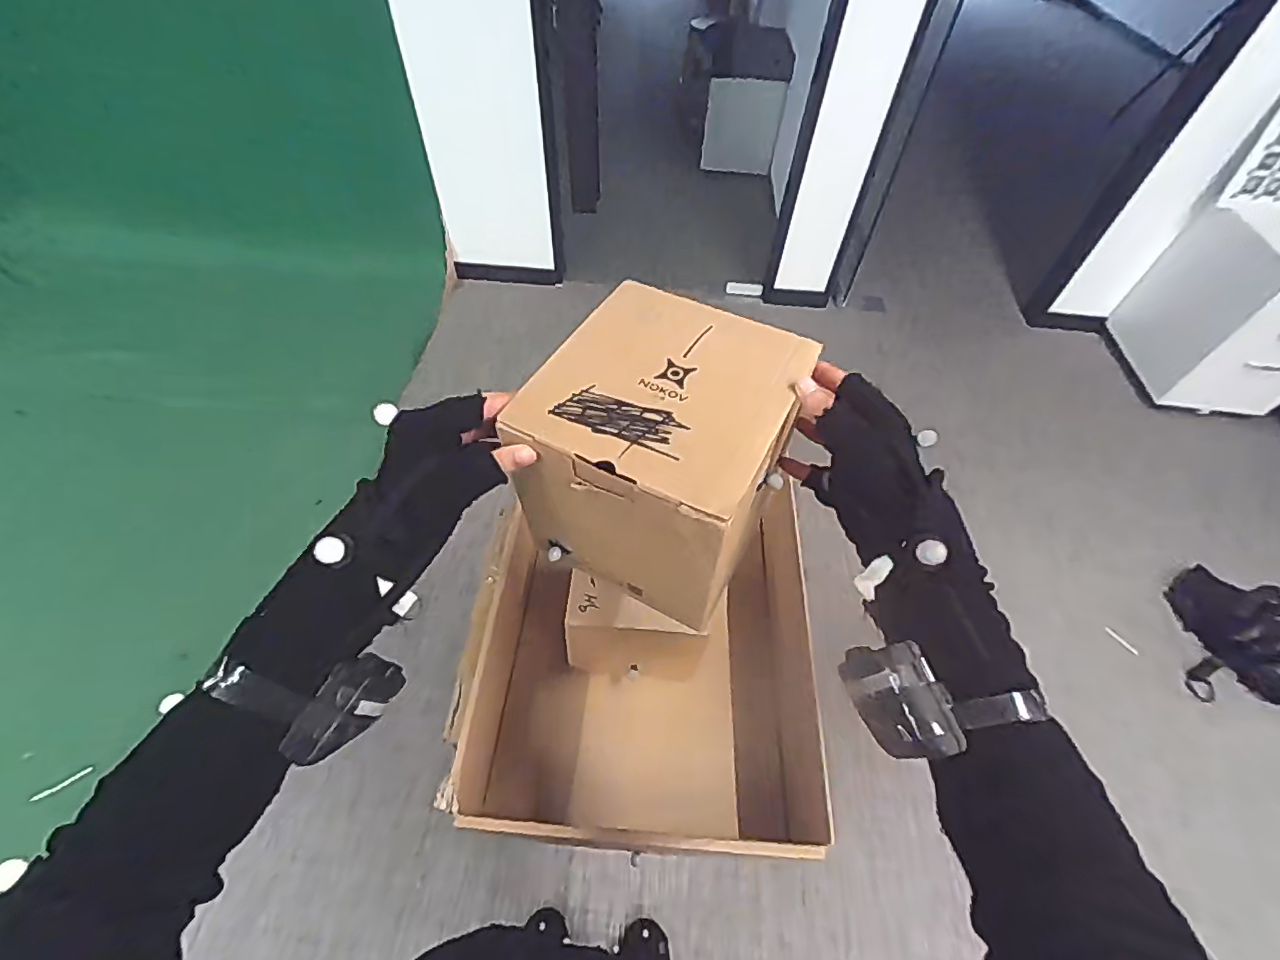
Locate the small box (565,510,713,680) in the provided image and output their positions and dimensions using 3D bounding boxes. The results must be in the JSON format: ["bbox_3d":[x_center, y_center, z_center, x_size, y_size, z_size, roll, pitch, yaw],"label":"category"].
[{"bbox_3d":[-0.002,0.163,0.742,0.179,0.176,0.168,6,50,-1],"label":"small box"}]
